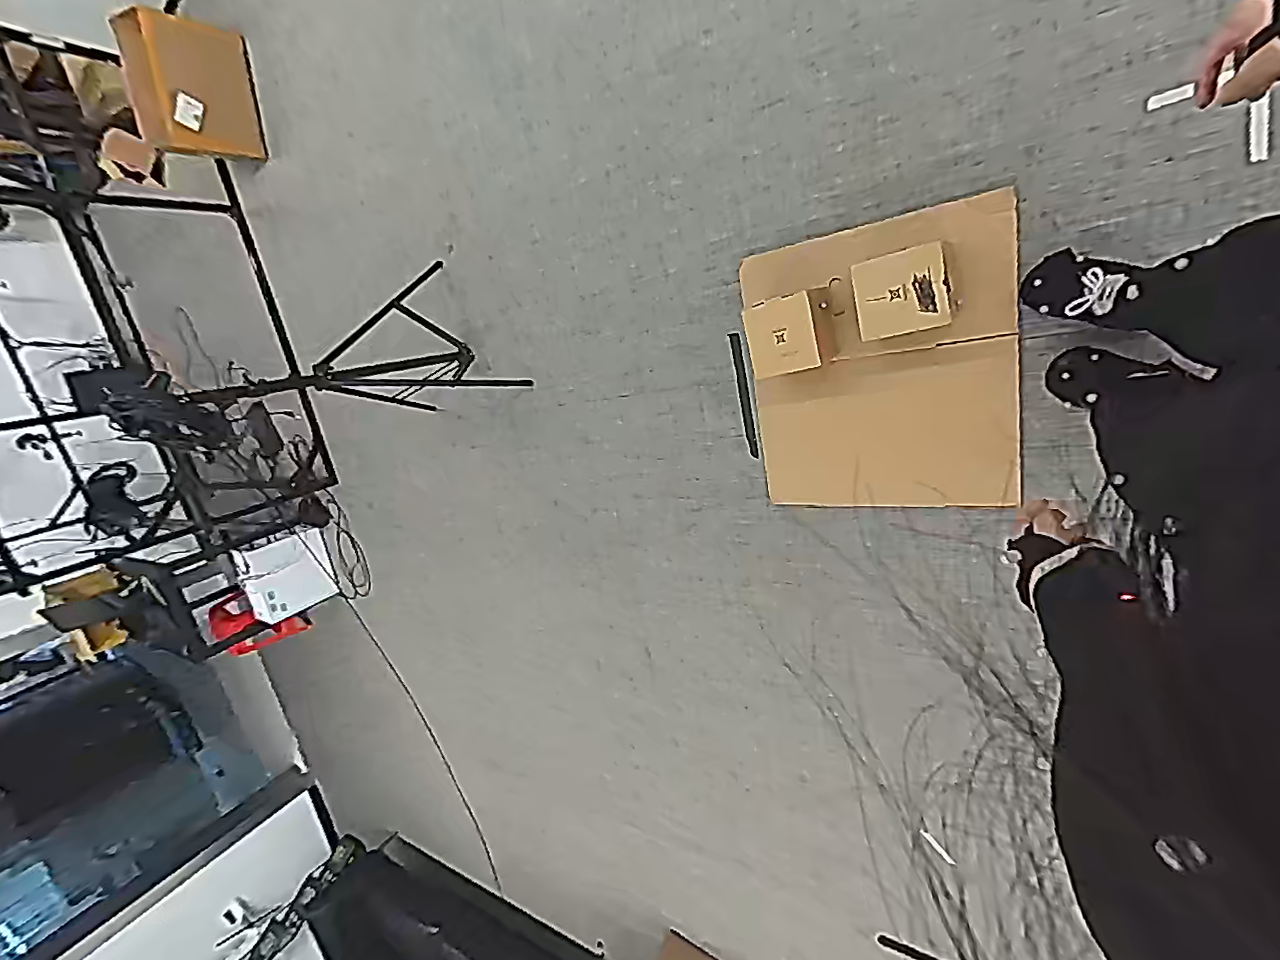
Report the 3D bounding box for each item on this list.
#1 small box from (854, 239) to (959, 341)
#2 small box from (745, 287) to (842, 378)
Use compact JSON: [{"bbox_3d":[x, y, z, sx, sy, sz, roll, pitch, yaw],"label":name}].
[{"bbox_3d":[0.580,-0.409,1.164,0.179,0.176,0.168,-5,106,36],"label":"small box"},{"bbox_3d":[0.380,-0.364,1.324,0.168,0.176,0.179,-8,105,38],"label":"small box"}]
